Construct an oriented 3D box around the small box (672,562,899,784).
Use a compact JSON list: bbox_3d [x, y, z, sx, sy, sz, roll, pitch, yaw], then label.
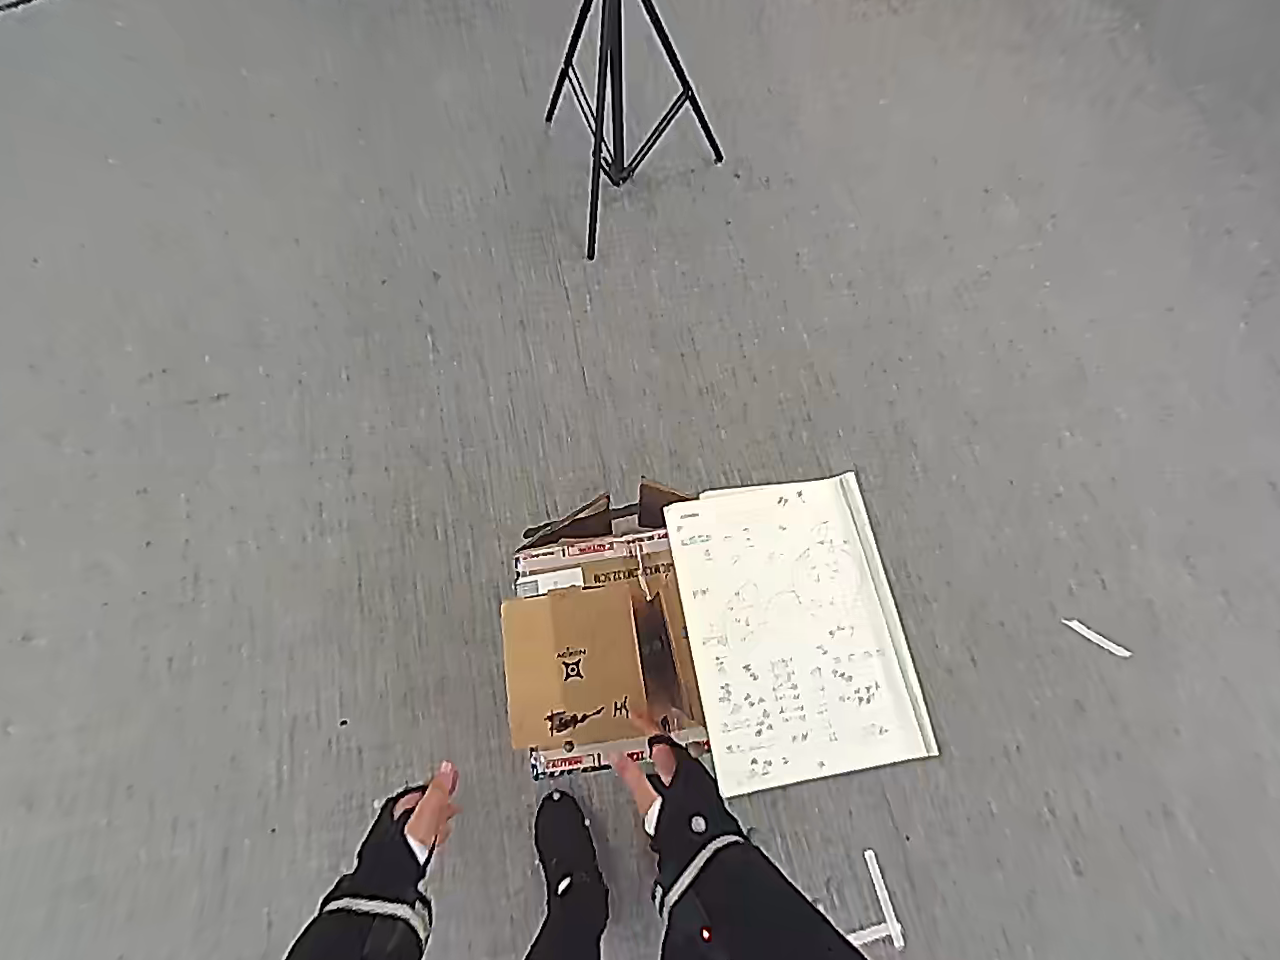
[{"bbox_3d":[0.135,0.198,0.578,0.168,0.176,0.179,-8,73,-6],"label":"small box"}]
